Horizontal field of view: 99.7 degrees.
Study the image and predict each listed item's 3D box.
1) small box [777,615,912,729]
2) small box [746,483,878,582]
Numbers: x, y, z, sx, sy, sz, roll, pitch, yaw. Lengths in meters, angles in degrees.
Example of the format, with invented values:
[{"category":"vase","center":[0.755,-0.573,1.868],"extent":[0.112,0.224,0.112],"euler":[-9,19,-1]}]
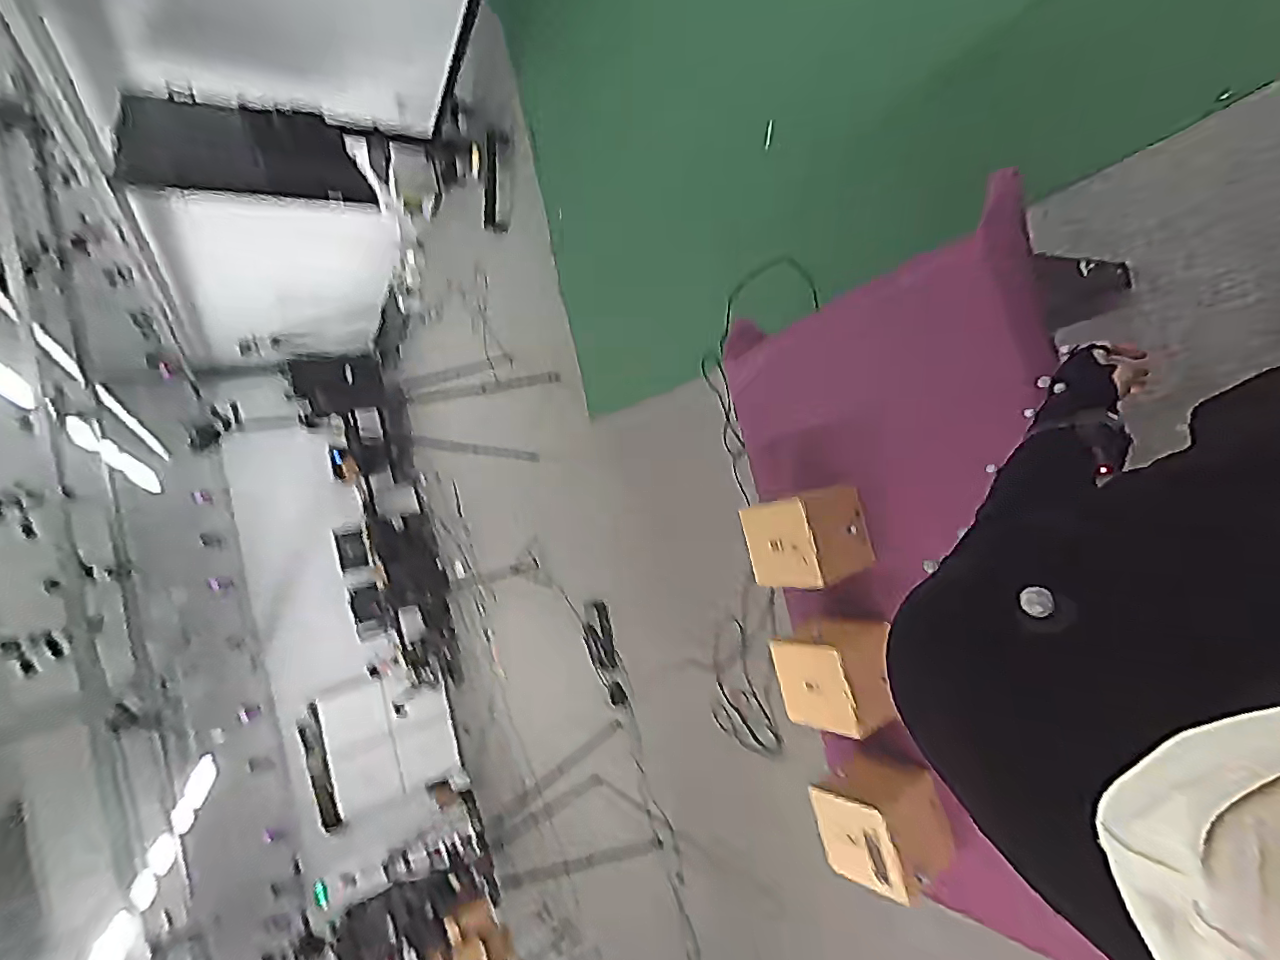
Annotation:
[{"category":"small box","center":[0.418,0.382,1.111],"extent":[0.179,0.176,0.168],"euler":[-20,83,57]},{"category":"small box","center":[0.354,0.108,1.118],"extent":[0.179,0.176,0.168],"euler":[-17,86,57]}]
